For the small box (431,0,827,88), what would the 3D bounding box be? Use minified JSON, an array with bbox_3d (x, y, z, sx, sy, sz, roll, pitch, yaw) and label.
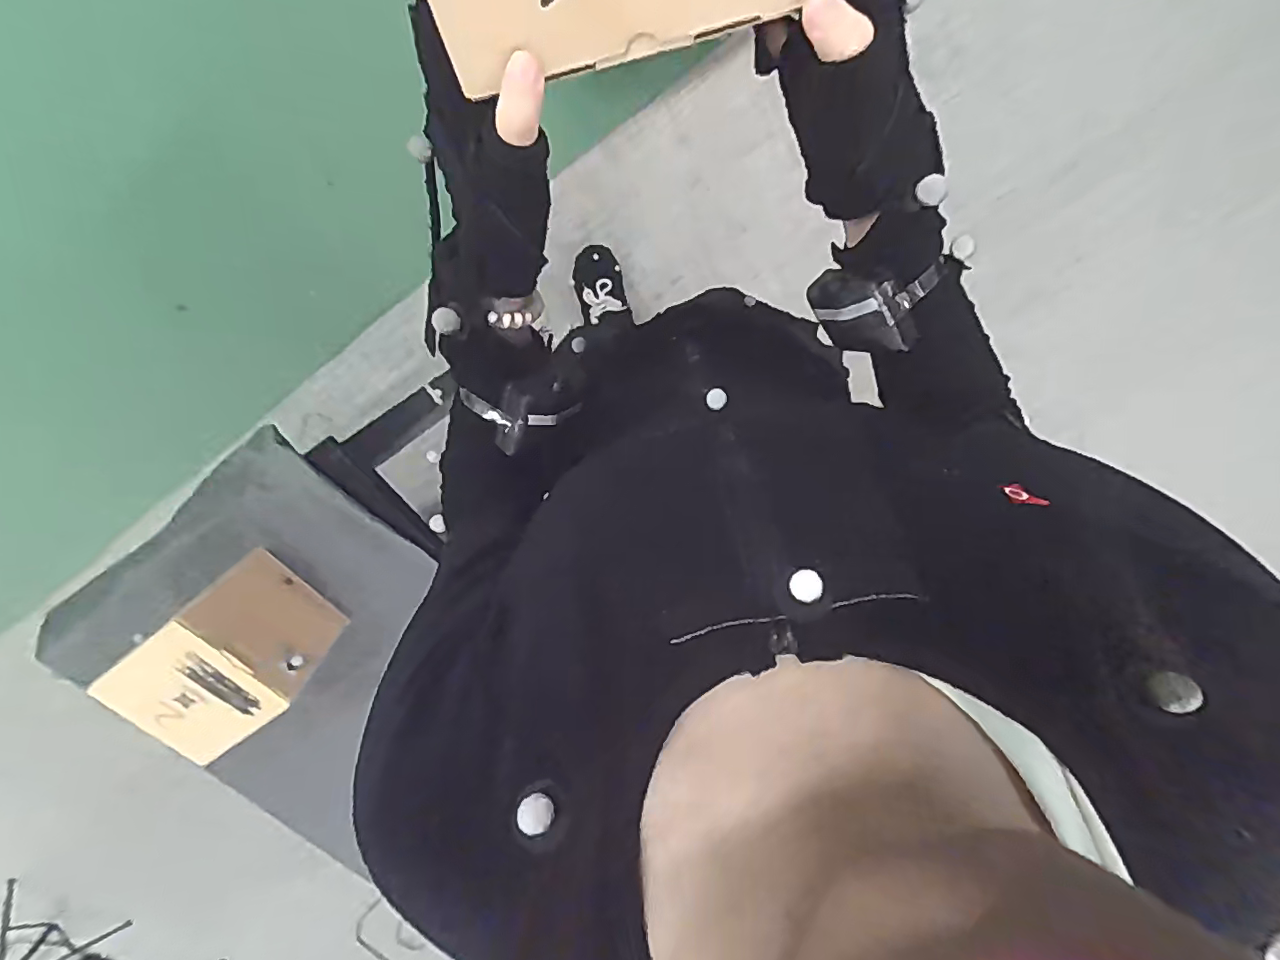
[{"bbox_3d":[-0.020,-0.302,0.228,0.168,0.176,0.179,-10,136,6],"label":"small box"}]
